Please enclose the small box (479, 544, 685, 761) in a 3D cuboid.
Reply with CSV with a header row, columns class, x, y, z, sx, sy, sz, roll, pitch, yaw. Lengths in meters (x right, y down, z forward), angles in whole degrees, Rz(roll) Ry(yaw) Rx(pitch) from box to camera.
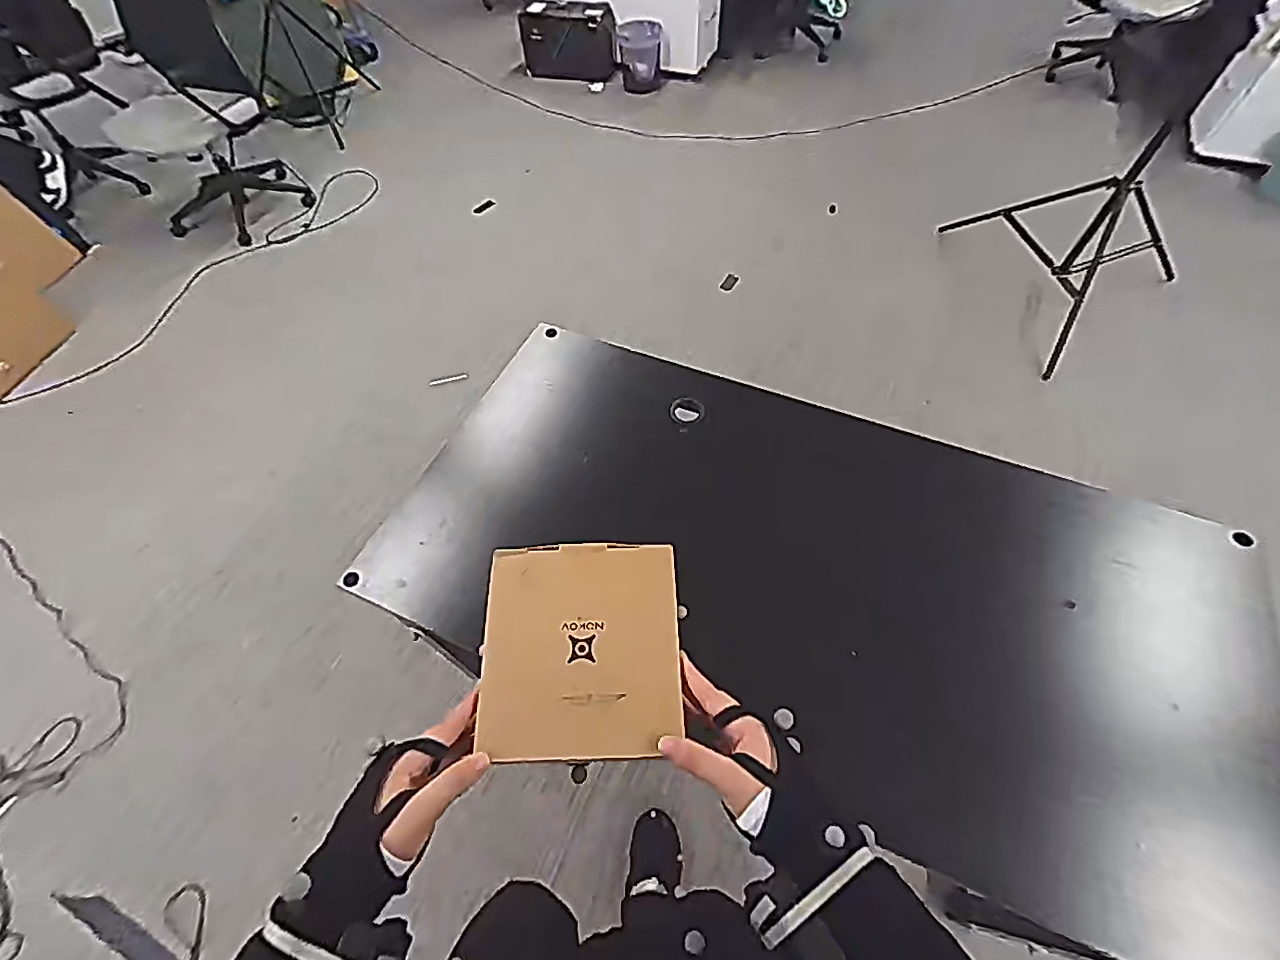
class,x,y,z,sx,sy,sz,roll,pitch,yaw
small box,-0.048,0.176,0.534,0.168,0.176,0.179,-2,62,-1
